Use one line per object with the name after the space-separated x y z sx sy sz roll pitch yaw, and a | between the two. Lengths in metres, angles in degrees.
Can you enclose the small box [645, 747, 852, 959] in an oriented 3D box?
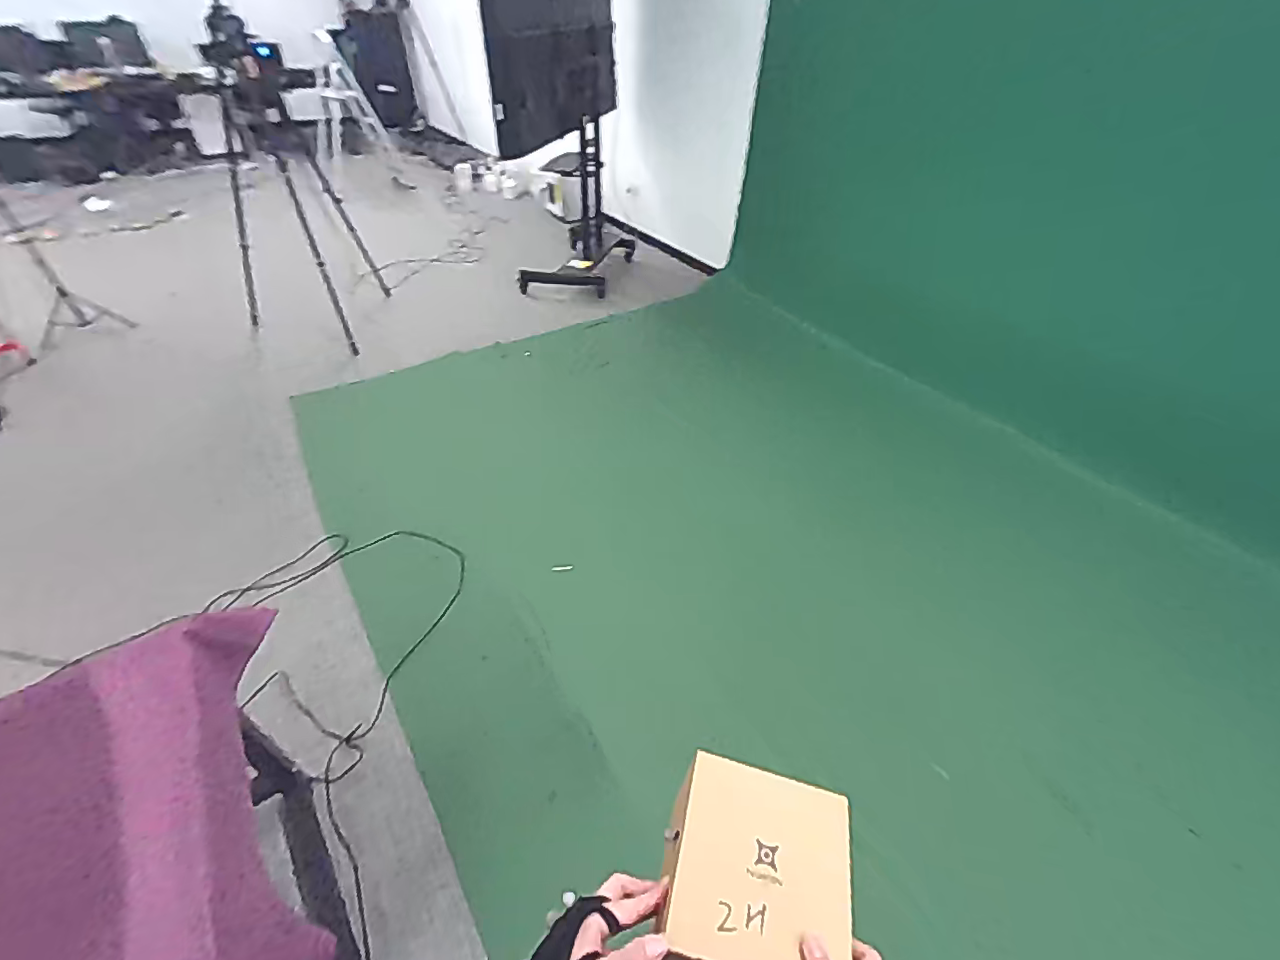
0.109 0.423 0.567 0.168 0.176 0.179 14 42 7 | small box
